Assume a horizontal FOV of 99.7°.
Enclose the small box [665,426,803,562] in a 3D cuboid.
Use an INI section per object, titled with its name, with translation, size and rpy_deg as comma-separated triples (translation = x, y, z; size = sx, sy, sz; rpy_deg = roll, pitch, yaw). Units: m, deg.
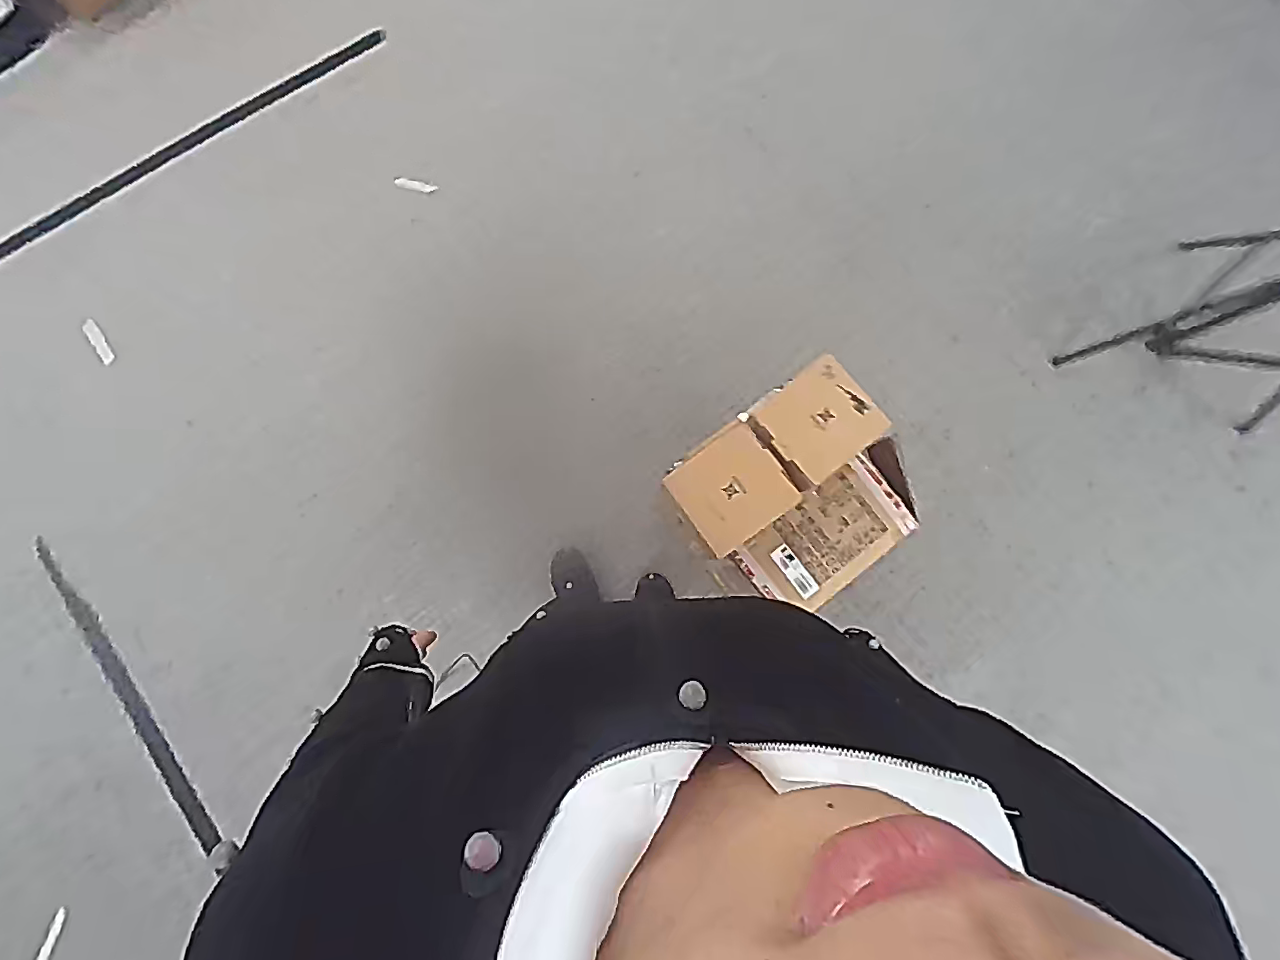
[small box]
translation = 0.156, 0.031, 0.975
size = 0.179, 0.176, 0.168
rpy_deg = -36, 82, -3
